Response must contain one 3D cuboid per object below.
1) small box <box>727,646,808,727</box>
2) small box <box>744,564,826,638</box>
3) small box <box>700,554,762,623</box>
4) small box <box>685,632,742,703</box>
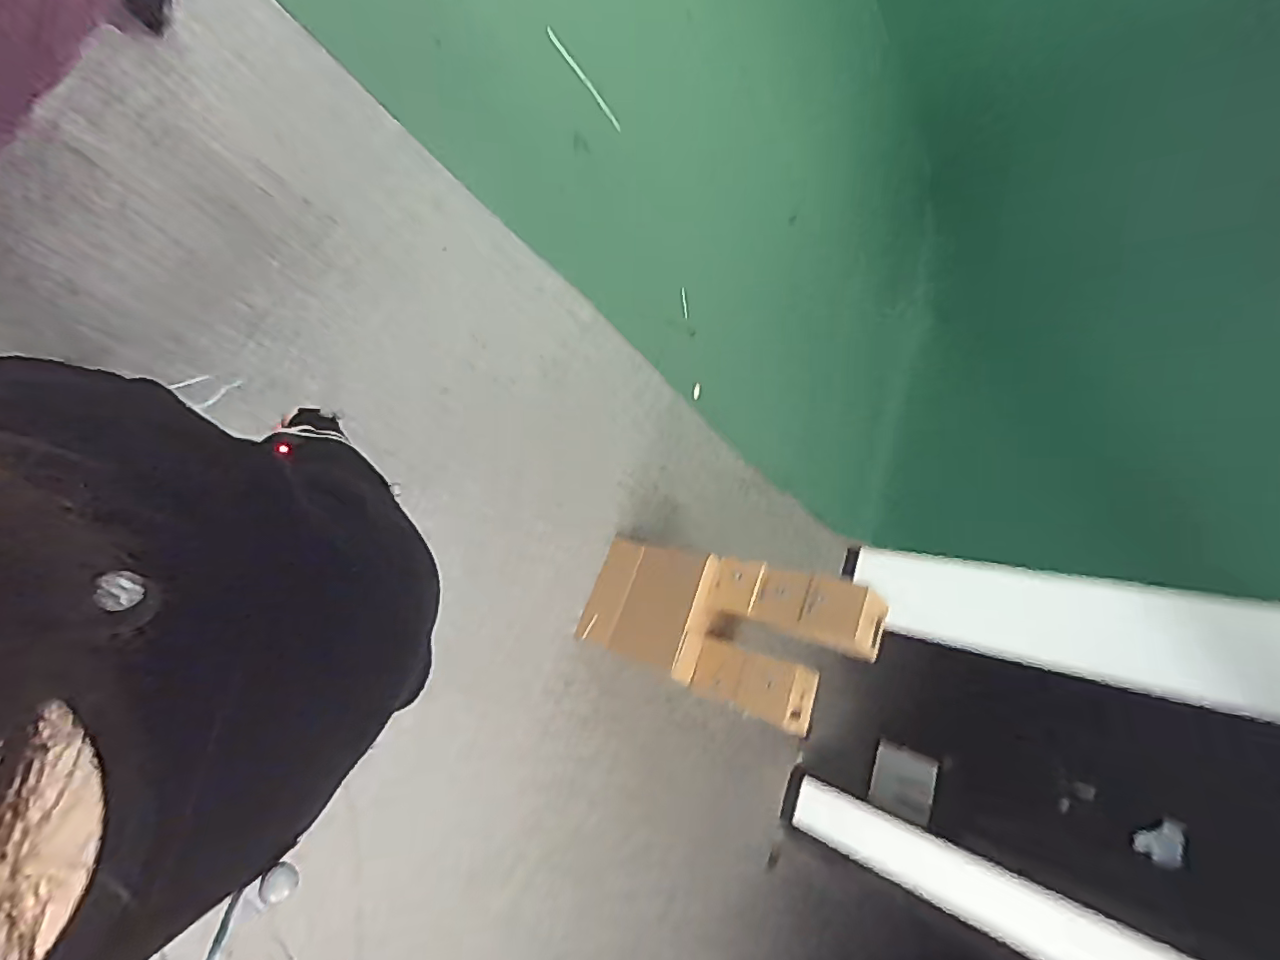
[{"bbox_3d":[0.386,0.629,1.654,0.168,0.176,0.179,36,66,-42],"label":"small box"},{"bbox_3d":[0.452,0.374,1.696,0.179,0.176,0.168,39,67,-41],"label":"small box"},{"bbox_3d":[0.326,0.357,1.801,0.179,0.176,0.168,37,68,-42],"label":"small box"},{"bbox_3d":[0.269,0.618,1.767,0.168,0.176,0.179,35,67,-43],"label":"small box"}]
